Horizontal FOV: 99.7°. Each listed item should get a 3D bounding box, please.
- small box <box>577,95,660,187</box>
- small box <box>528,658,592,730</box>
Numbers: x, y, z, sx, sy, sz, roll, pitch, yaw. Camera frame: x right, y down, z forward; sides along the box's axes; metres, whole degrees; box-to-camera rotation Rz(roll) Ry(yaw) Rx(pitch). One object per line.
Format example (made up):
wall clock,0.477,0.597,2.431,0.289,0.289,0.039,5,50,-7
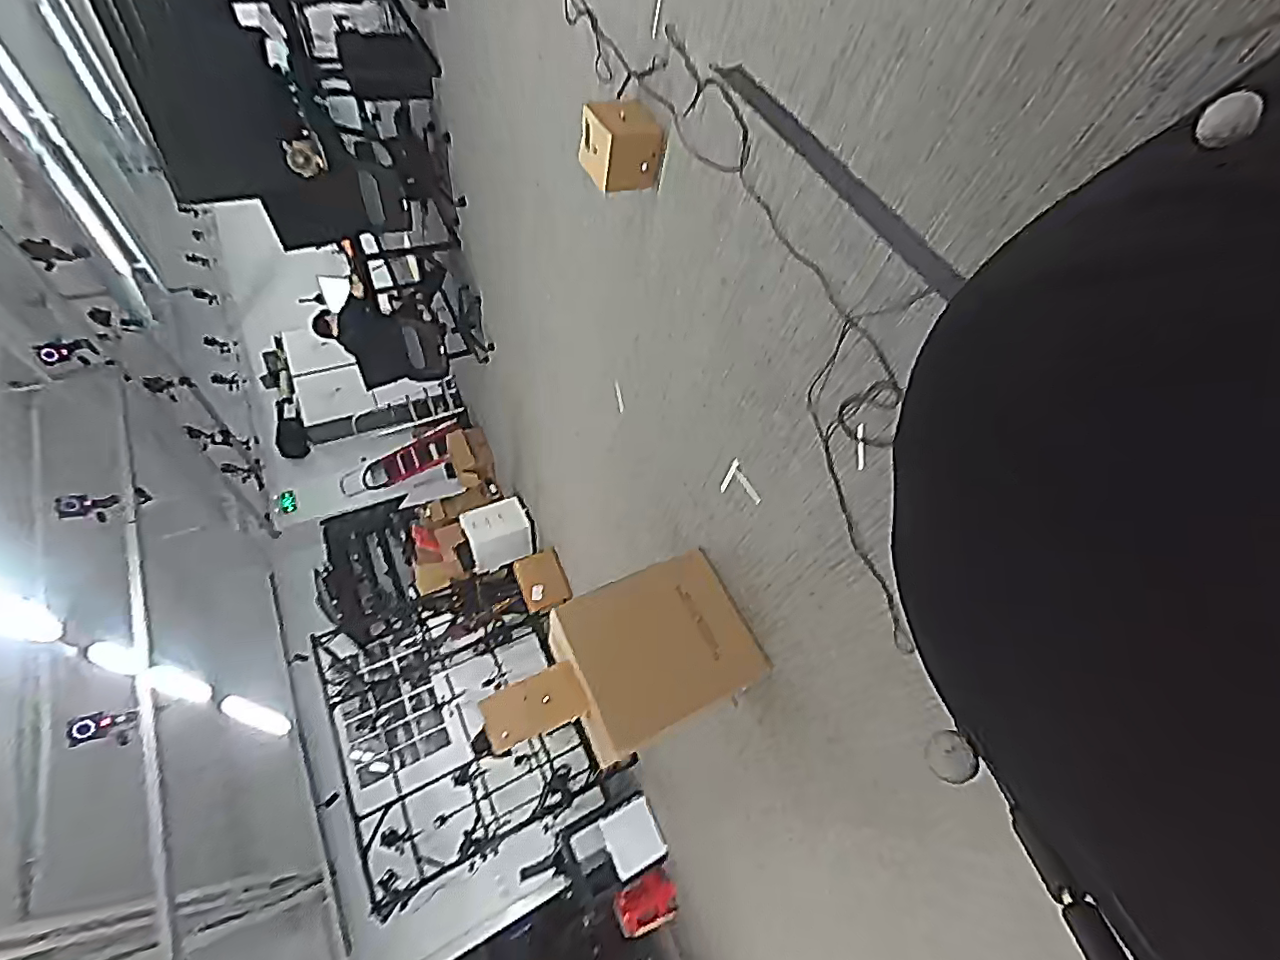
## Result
small box,-0.065,-0.978,1.558,0.179,0.176,0.168,59,156,23
small box,-0.285,0.748,1.909,0.179,0.176,0.168,59,155,24
